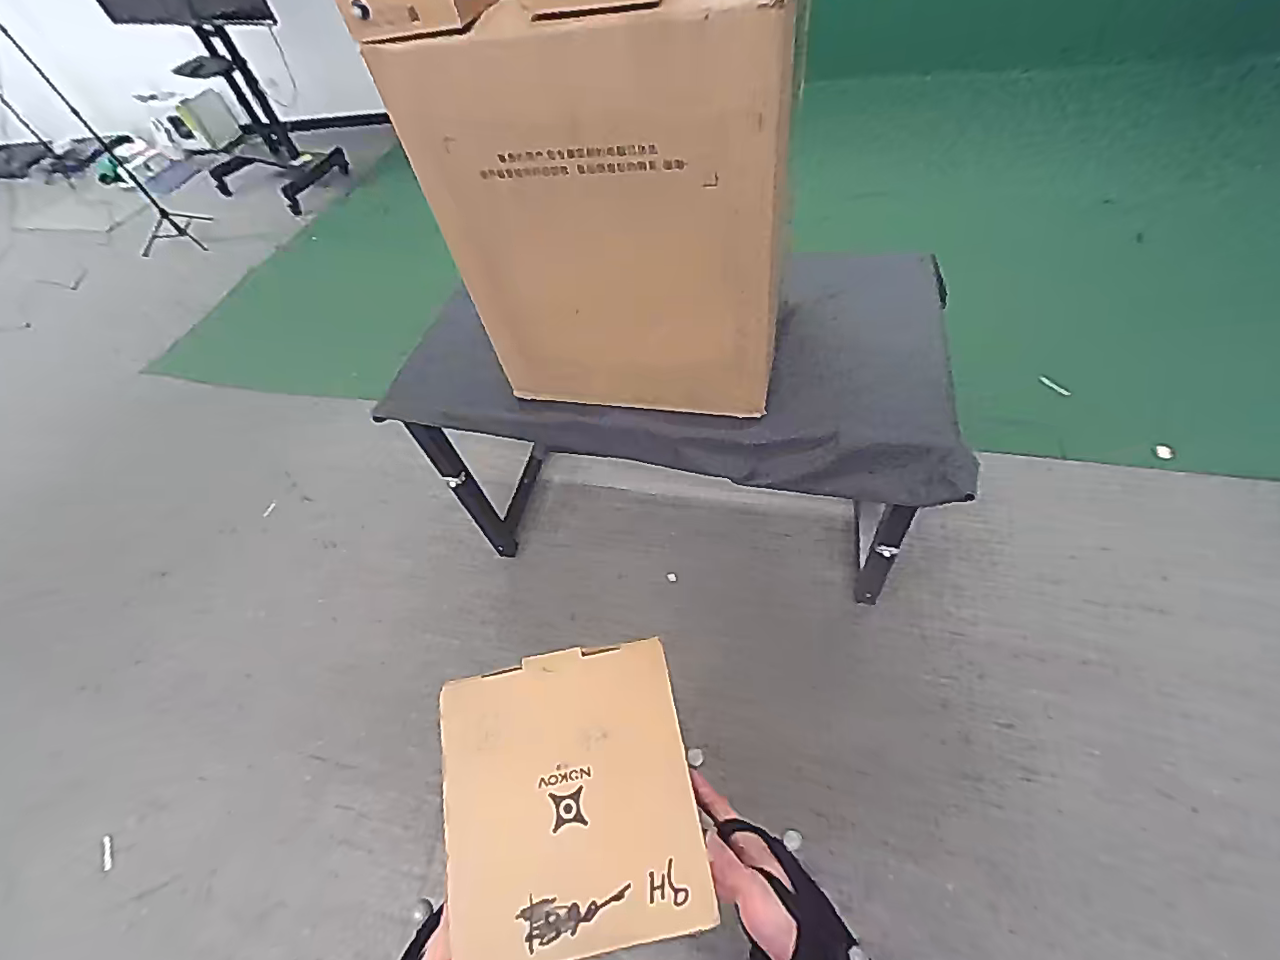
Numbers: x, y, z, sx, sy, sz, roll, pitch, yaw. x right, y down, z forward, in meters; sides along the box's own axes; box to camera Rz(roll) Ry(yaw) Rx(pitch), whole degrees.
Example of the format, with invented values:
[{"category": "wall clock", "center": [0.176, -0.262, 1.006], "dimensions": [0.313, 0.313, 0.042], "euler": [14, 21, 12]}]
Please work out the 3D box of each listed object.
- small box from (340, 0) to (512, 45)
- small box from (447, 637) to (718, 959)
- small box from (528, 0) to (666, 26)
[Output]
[{"category": "small box", "center": [-0.276, -0.657, 0.657], "dimensions": [0.168, 0.176, 0.179], "euler": [8, 55, 18]}, {"category": "small box", "center": [-0.043, 0.243, 0.435], "dimensions": [0.168, 0.176, 0.179], "euler": [-12, 64, -2]}, {"category": "small box", "center": [-0.046, -0.633, 0.592], "dimensions": [0.168, 0.176, 0.179], "euler": [6, 56, 16]}]
